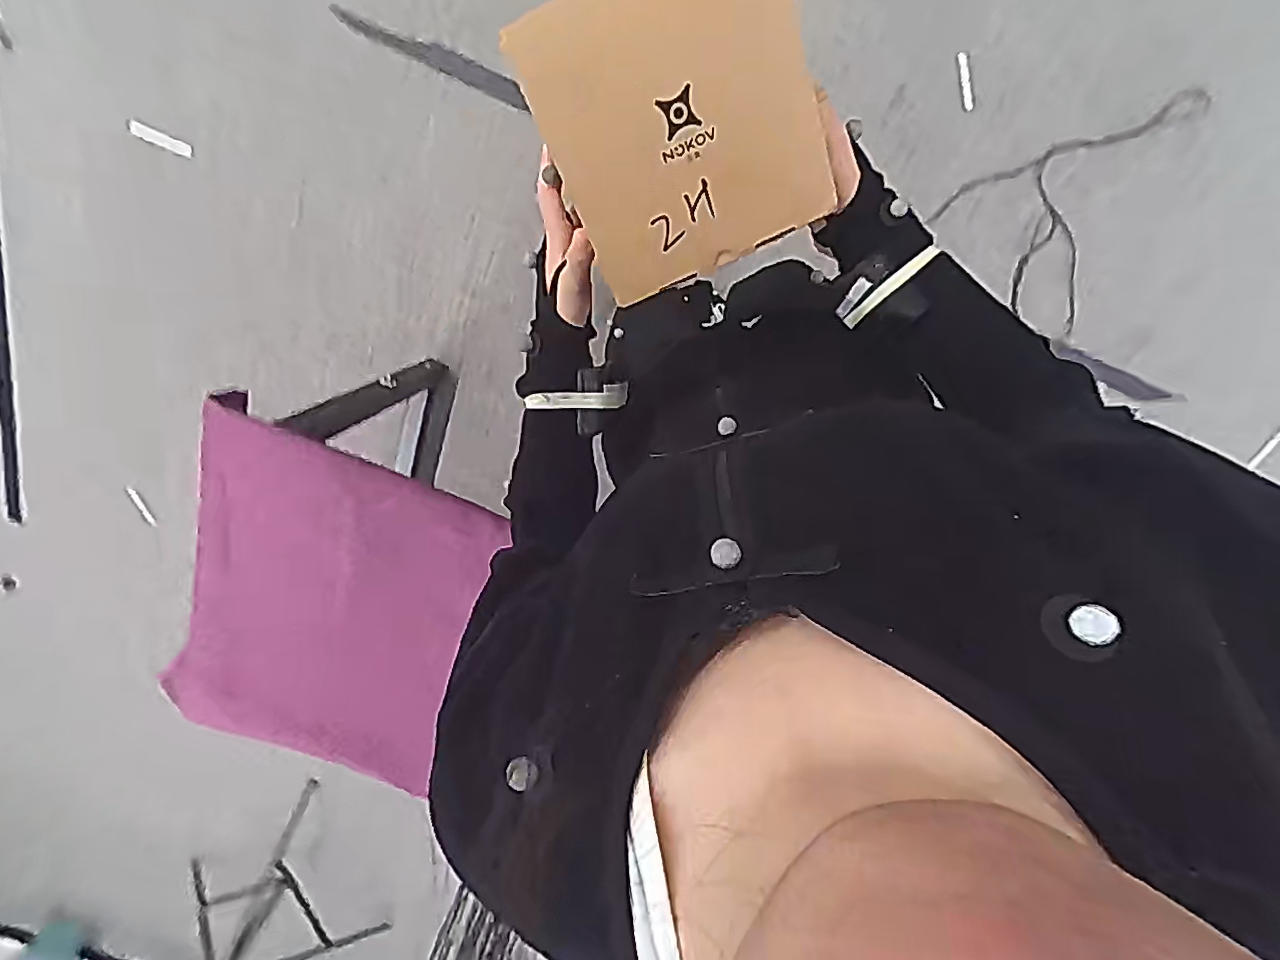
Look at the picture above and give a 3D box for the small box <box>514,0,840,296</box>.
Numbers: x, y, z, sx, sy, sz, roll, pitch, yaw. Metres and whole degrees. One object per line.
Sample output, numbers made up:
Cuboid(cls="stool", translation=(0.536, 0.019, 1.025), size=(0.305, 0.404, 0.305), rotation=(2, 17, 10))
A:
Cuboid(cls="small box", translation=(0.028, -0.268, 0.408), size=(0.168, 0.176, 0.179), rotation=(-20, 120, 10))
